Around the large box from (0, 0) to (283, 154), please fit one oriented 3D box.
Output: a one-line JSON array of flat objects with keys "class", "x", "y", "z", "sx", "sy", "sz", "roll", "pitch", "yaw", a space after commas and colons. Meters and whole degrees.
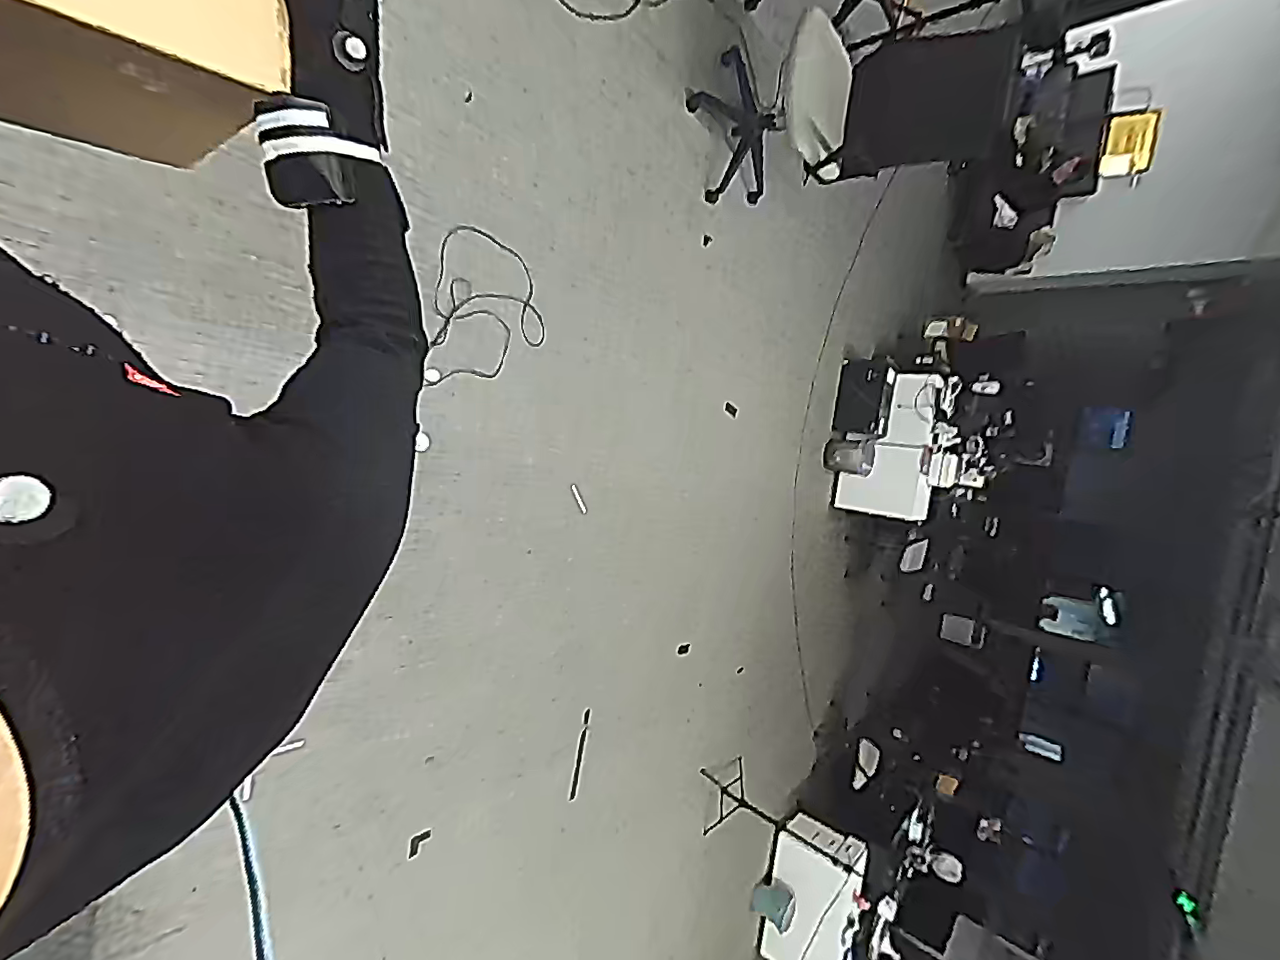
[{"class": "large box", "x": -0.489, "y": -0.436, "z": 0.298, "sx": 0.408, "sy": 0.320, "sz": 0.320, "roll": -10, "pitch": 109, "yaw": -50}]
